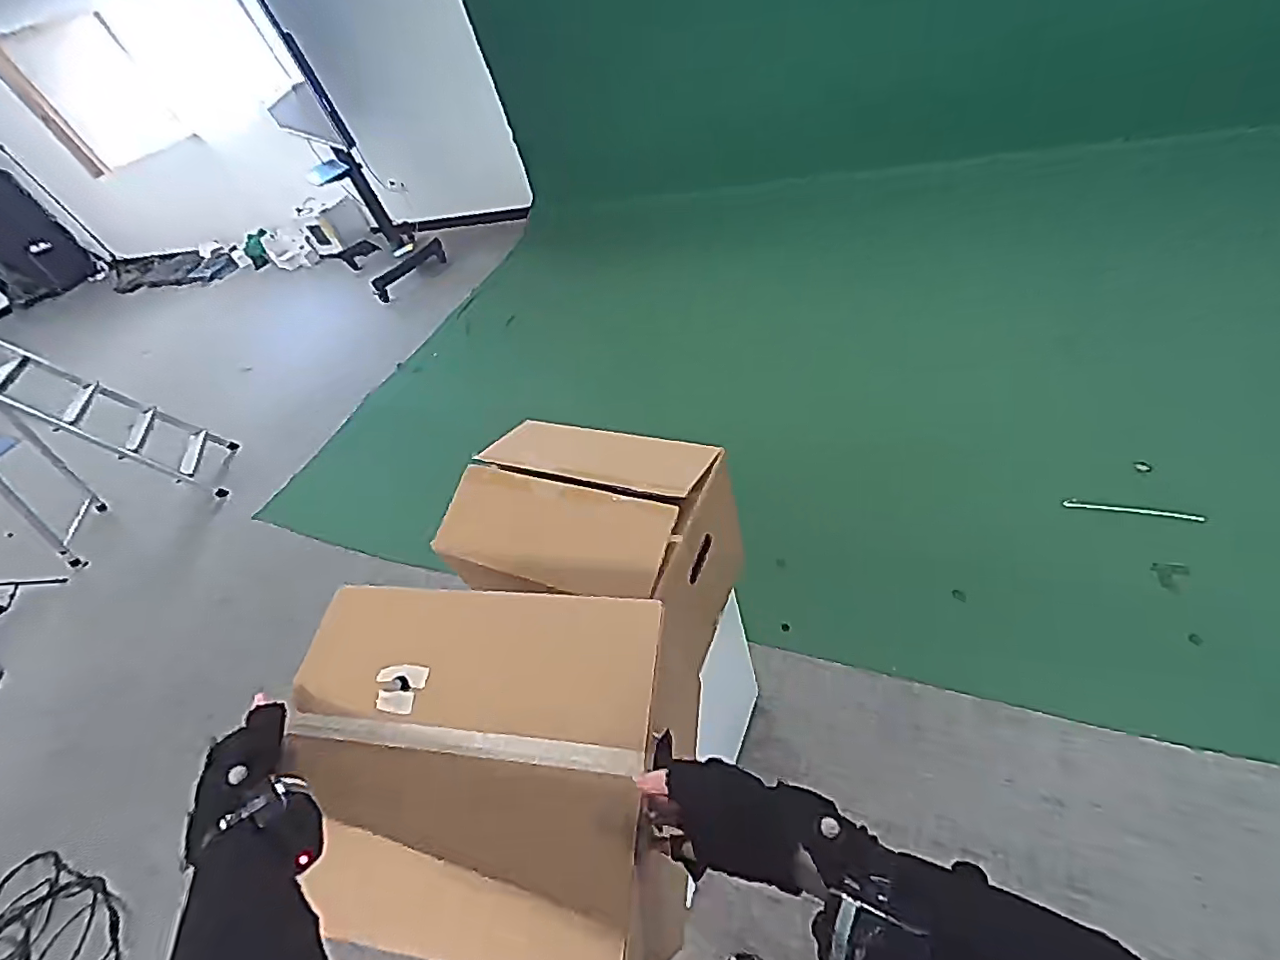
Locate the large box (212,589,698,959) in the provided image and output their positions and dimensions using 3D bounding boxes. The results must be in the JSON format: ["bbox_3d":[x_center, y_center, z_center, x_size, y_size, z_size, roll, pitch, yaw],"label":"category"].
[{"bbox_3d":[-0.153,0.334,0.647,0.408,0.320,0.320,-1,57,15],"label":"large box"}]
